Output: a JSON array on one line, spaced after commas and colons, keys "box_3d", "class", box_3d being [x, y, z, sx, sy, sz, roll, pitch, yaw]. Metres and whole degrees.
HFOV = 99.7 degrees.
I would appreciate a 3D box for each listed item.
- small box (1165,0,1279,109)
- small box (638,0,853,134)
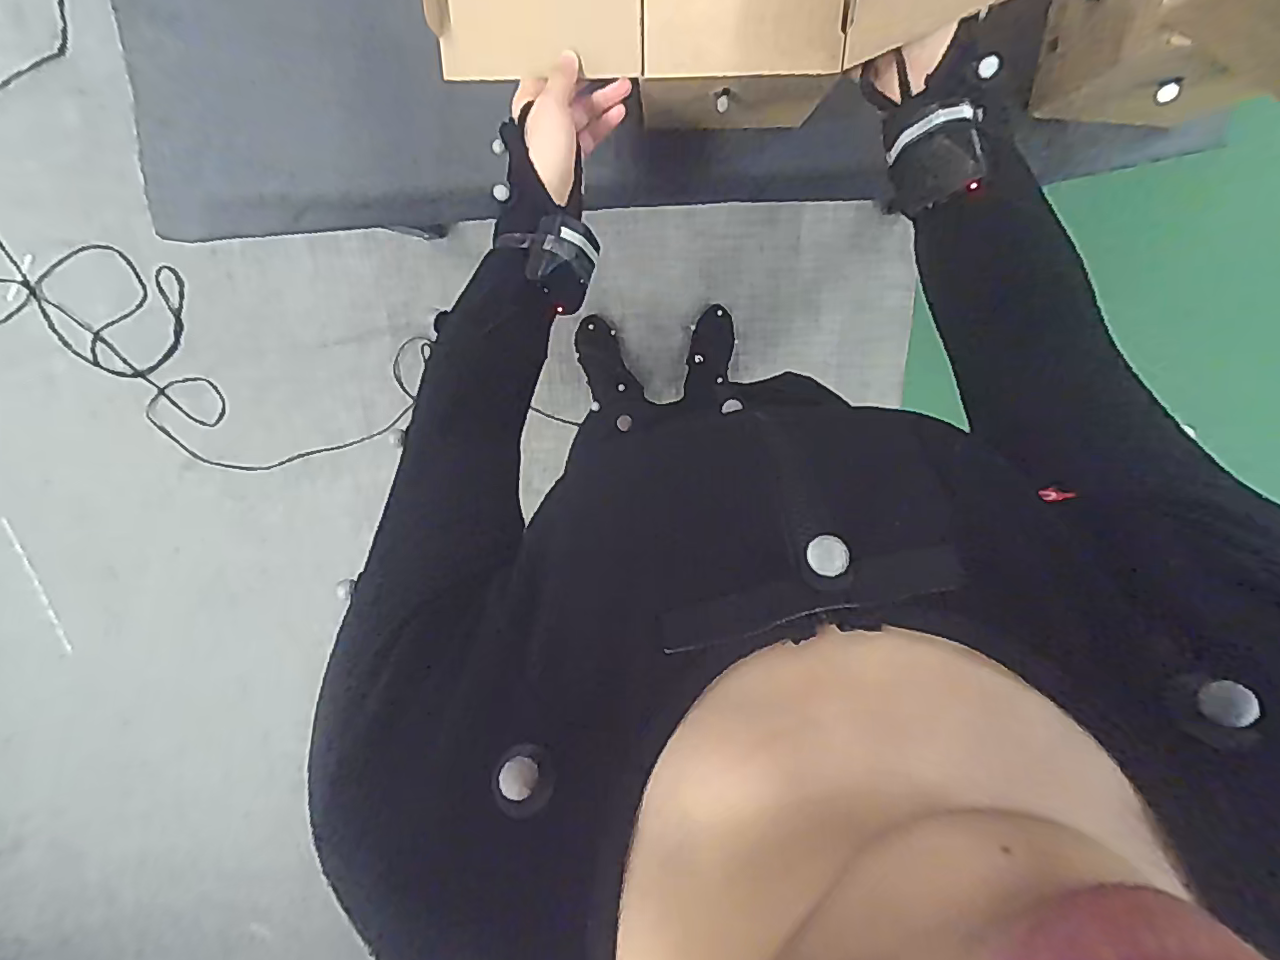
[{"box_3d": [0.530, -0.386, 0.358, 0.179, 0.176, 0.168, 23, 104, -8], "class": "small box"}, {"box_3d": [0.091, -0.436, 0.506, 0.179, 0.176, 0.168, 1, 112, 3], "class": "small box"}]
